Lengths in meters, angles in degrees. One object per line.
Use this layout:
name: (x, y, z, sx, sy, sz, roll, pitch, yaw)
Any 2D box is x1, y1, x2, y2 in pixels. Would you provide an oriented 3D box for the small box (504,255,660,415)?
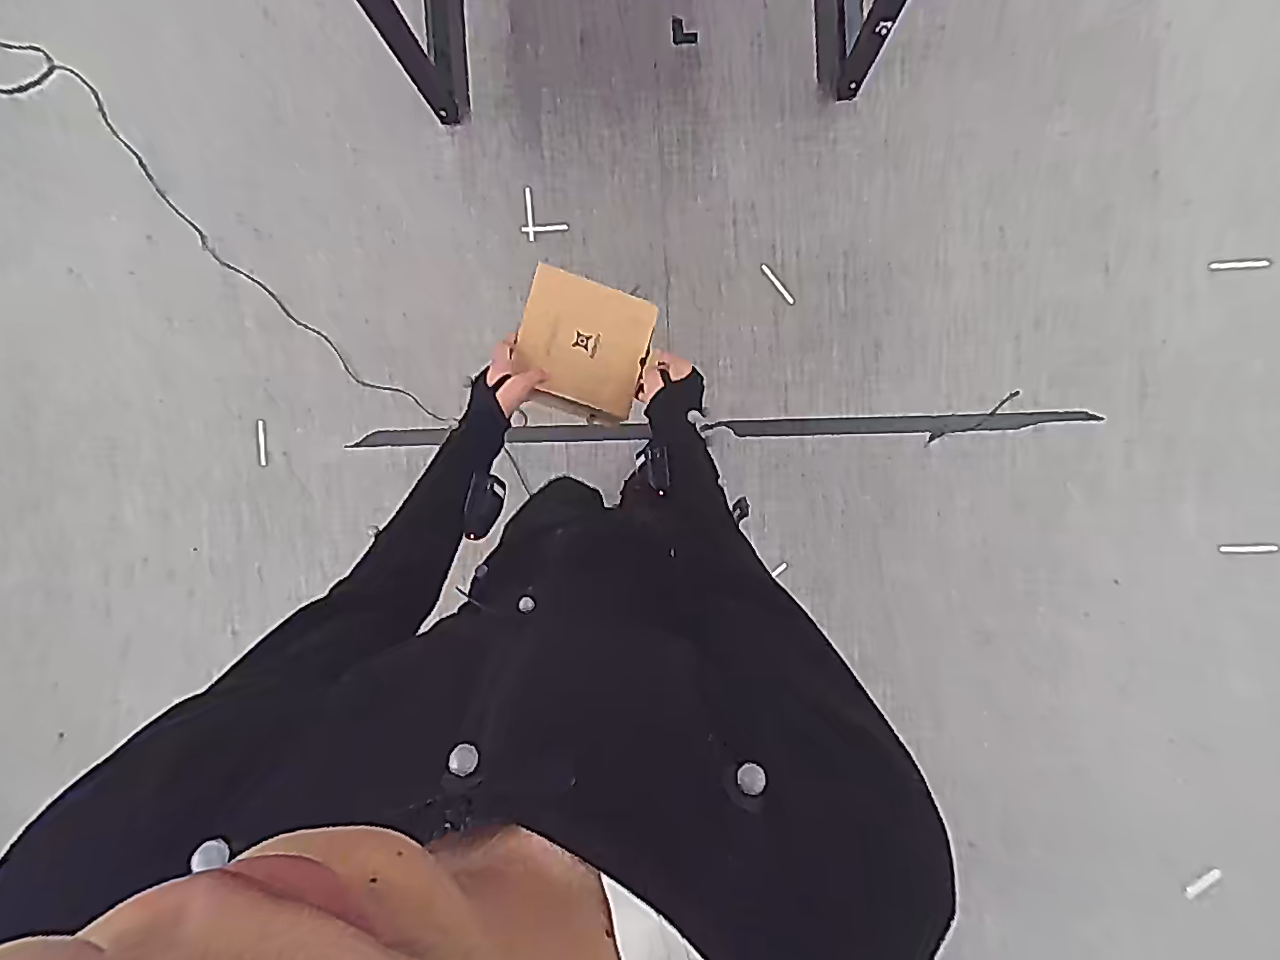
small box: (-0.092, -0.199, 0.802, 0.179, 0.176, 0.168, 17, 89, -13)
